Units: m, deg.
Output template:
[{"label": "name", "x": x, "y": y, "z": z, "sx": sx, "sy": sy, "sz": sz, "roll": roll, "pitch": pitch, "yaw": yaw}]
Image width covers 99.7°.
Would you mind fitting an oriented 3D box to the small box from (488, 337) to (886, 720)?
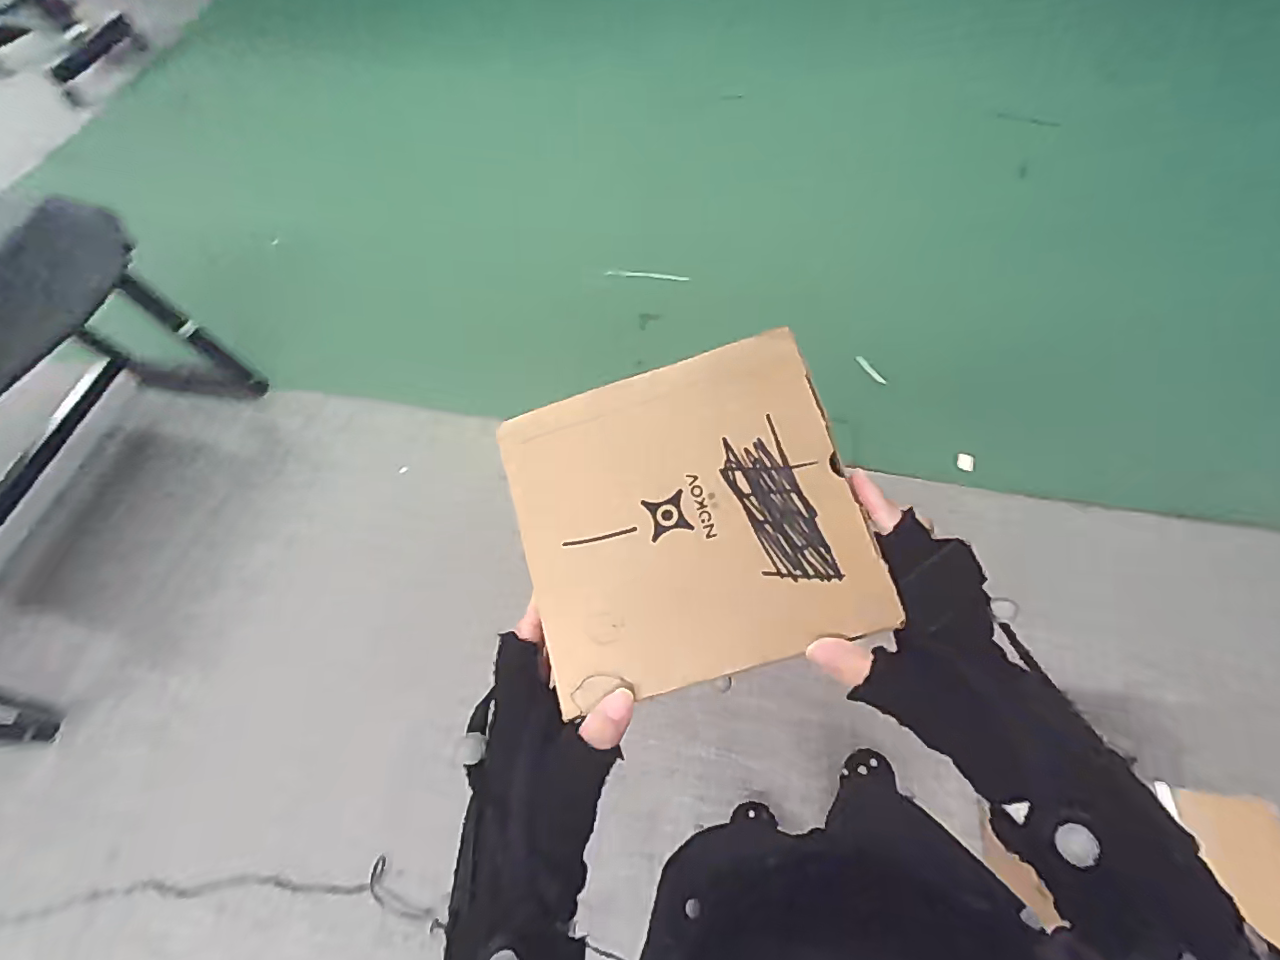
[{"label": "small box", "x": 0.026, "y": 0.037, "z": 0.361, "sx": 0.179, "sy": 0.176, "sz": 0.168, "roll": -18, "pitch": 75, "yaw": 3}]
